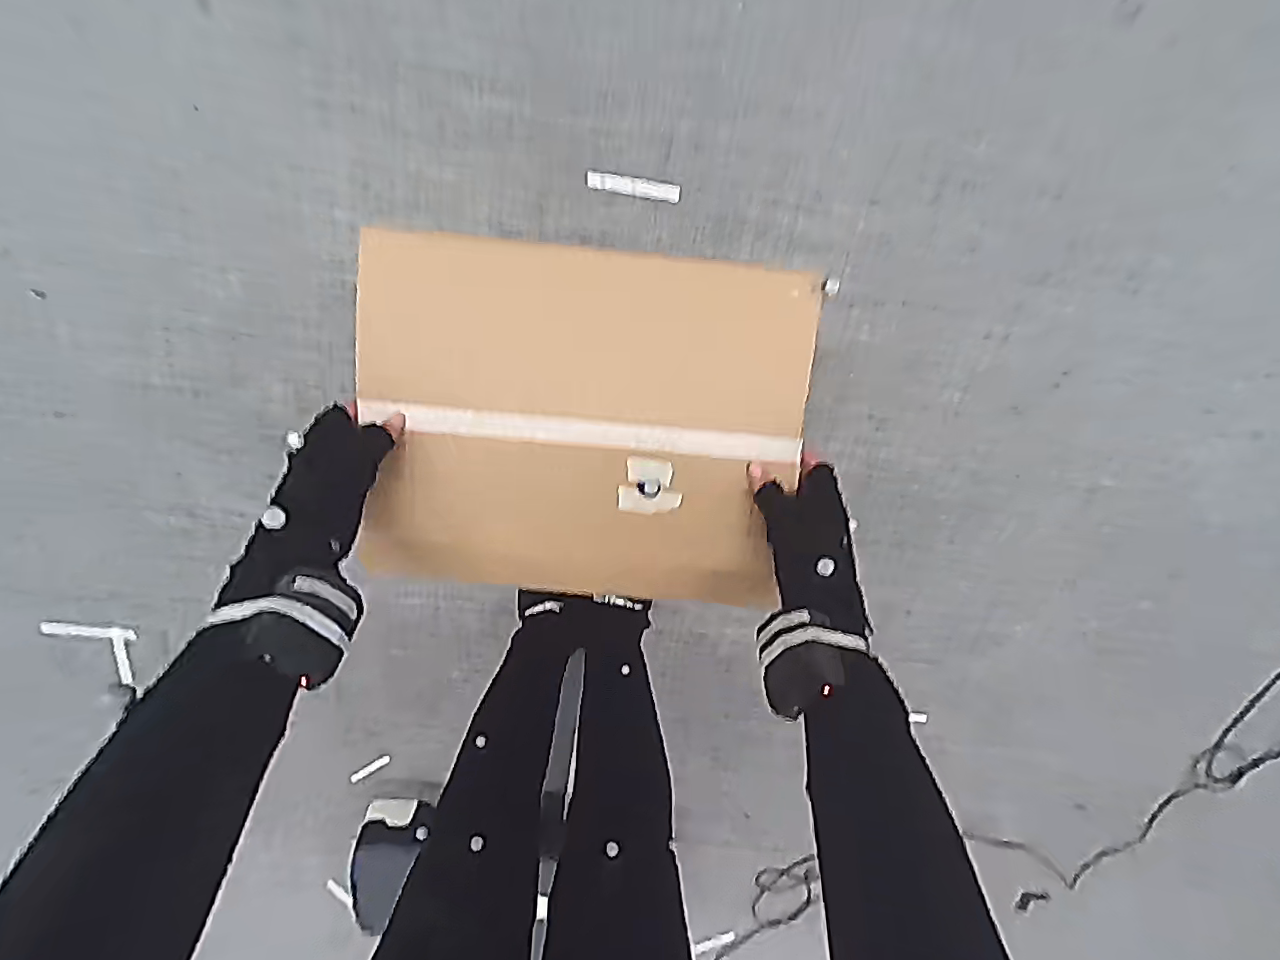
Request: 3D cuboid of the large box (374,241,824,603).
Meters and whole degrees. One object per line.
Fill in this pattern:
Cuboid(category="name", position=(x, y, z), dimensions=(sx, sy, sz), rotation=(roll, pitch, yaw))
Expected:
Cuboid(category="large box", position=(-0.049, -0.066, 0.644), dimensions=(0.408, 0.320, 0.320), rotation=(5, 100, -2))
